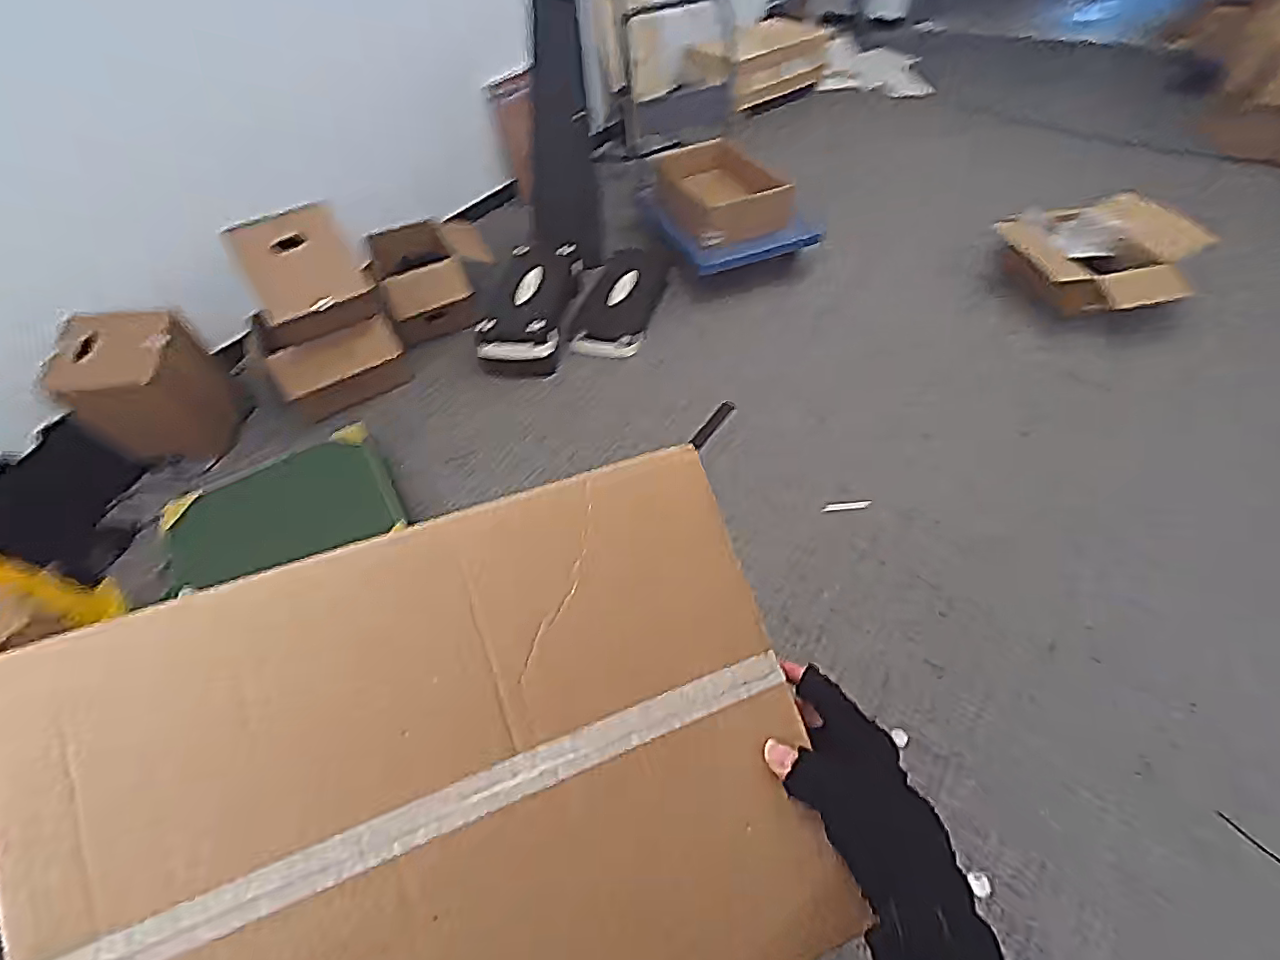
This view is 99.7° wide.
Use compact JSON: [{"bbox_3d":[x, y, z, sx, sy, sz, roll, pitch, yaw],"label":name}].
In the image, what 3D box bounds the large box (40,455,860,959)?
[{"bbox_3d":[-0.120,0.214,0.456,0.408,0.320,0.320,-17,81,-13],"label":"large box"}]
